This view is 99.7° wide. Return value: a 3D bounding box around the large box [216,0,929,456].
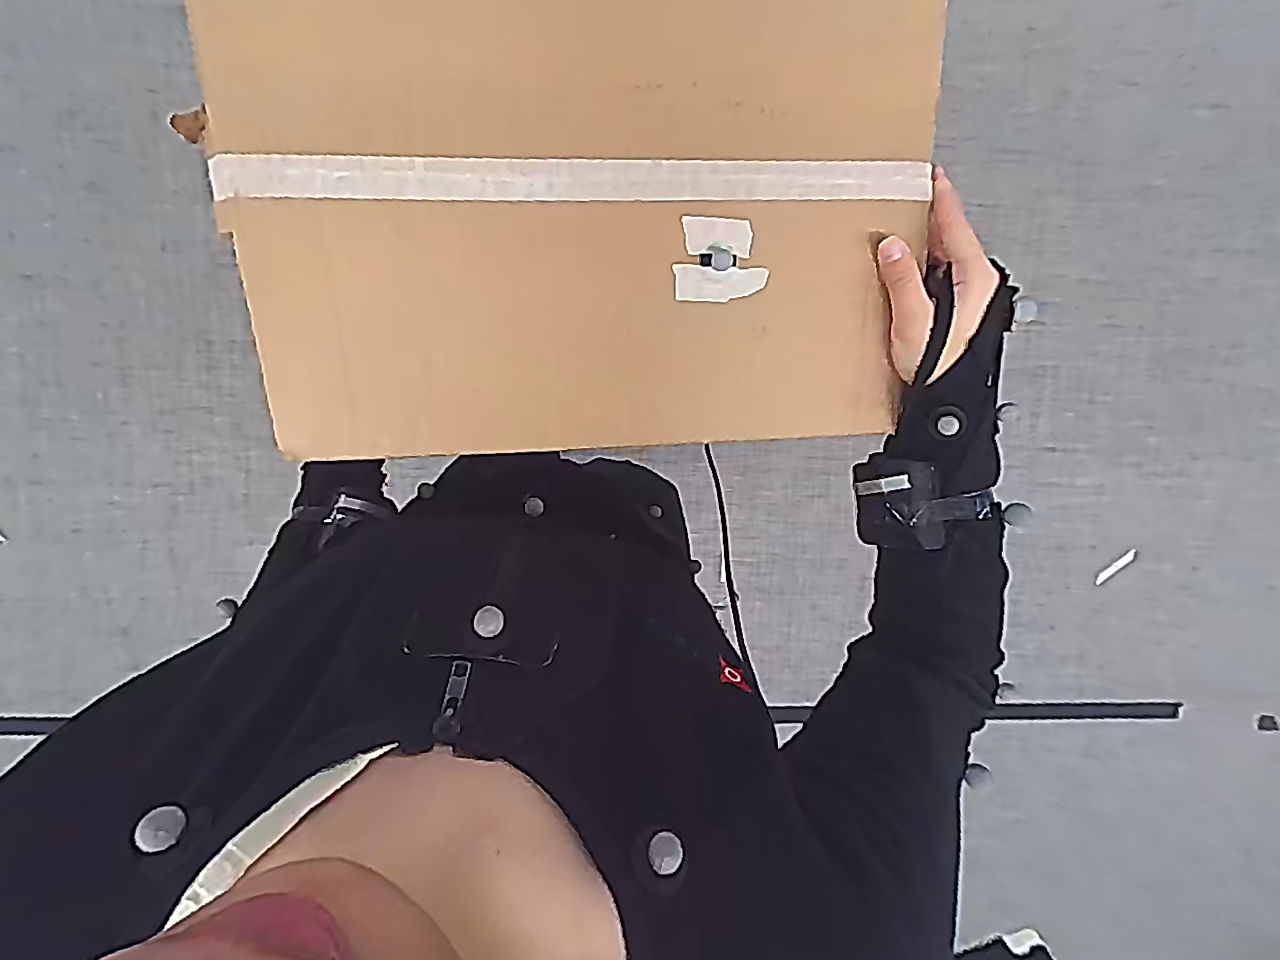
[{"bbox_3d":[-0.042,-0.212,0.466,0.408,0.320,0.320,-4,105,-8],"label":"large box"}]
